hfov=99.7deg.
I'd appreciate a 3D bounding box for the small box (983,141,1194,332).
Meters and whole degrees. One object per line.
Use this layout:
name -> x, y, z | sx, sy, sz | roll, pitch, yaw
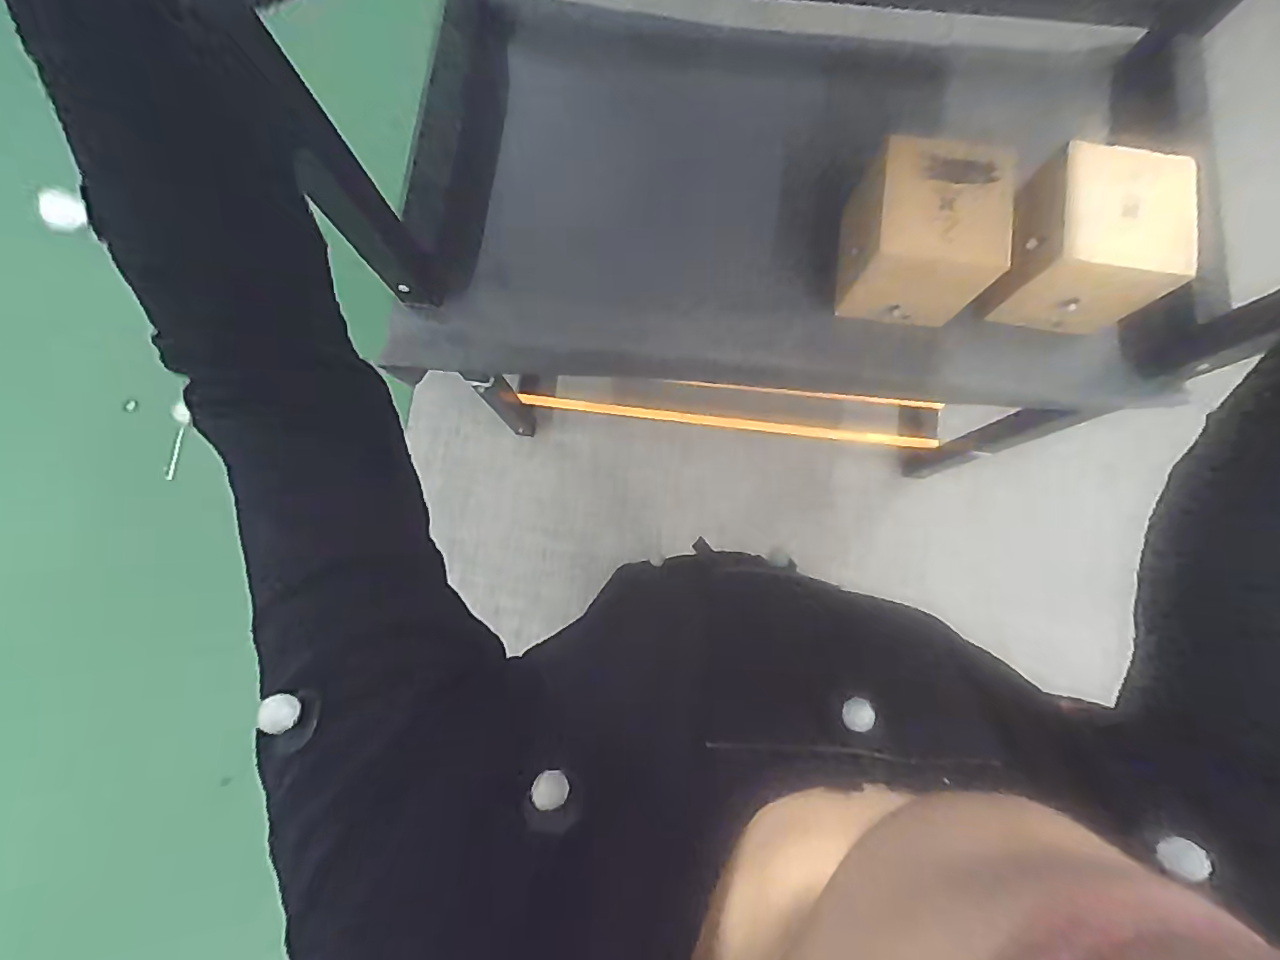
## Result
small box -> 0.618, -0.331, 0.766 | 0.168, 0.176, 0.179 | 10, 79, 2
